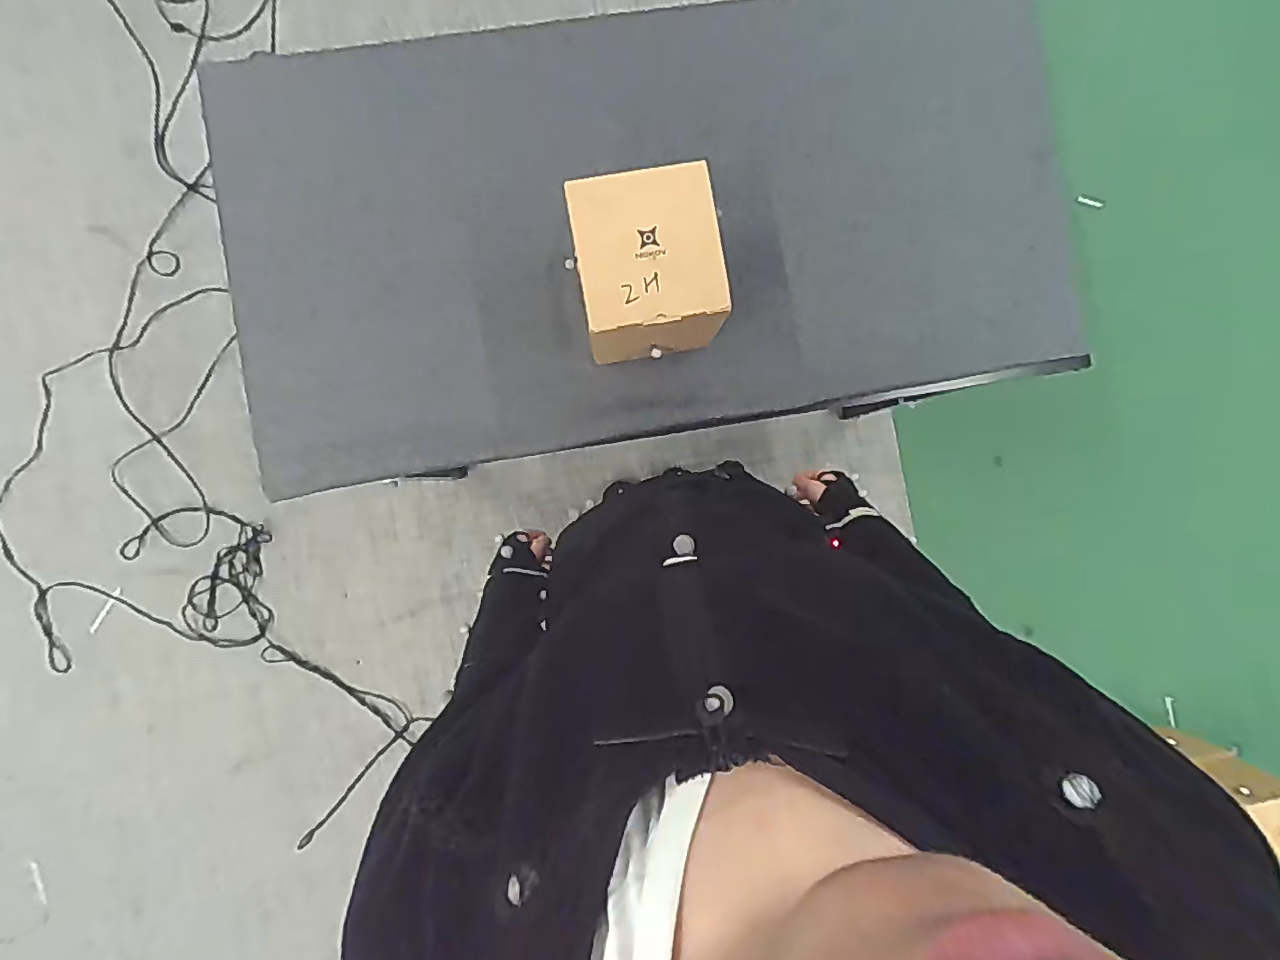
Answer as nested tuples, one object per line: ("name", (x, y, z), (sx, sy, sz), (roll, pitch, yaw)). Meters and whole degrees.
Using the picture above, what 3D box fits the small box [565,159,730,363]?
("small box", (0.005, -0.263, 0.685), (0.168, 0.176, 0.179), (-10, 89, -2))

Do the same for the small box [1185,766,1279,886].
("small box", (1.482, 0.818, 1.296), (0.179, 0.176, 0.168), (-10, 90, -3))
